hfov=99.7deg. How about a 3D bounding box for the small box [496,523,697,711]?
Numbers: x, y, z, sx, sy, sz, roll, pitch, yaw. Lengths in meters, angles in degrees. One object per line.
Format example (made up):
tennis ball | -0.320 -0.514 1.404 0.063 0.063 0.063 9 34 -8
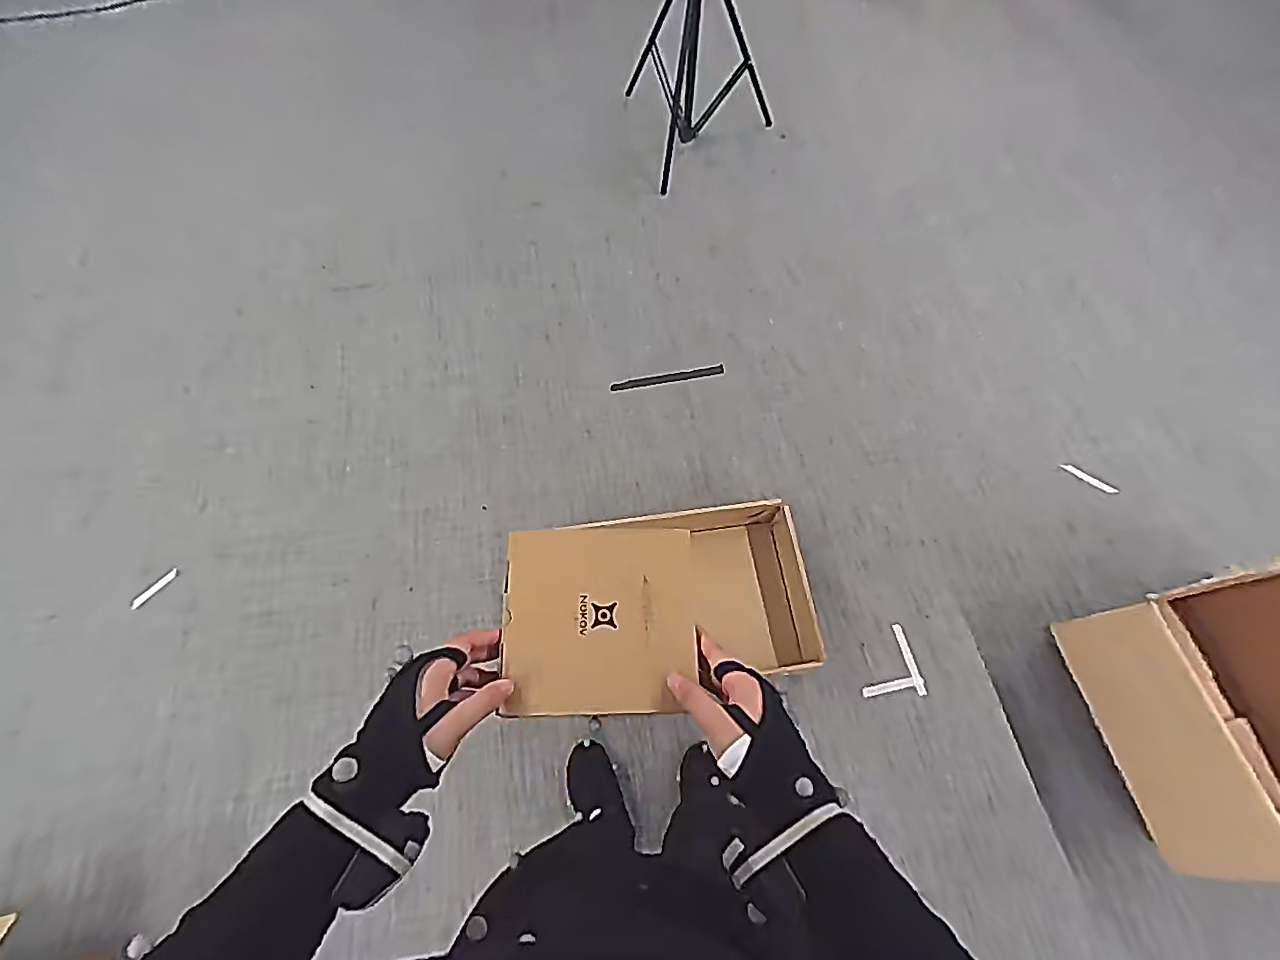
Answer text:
small box | -0.043 0.150 0.567 0.179 0.176 0.168 -1 67 -5
